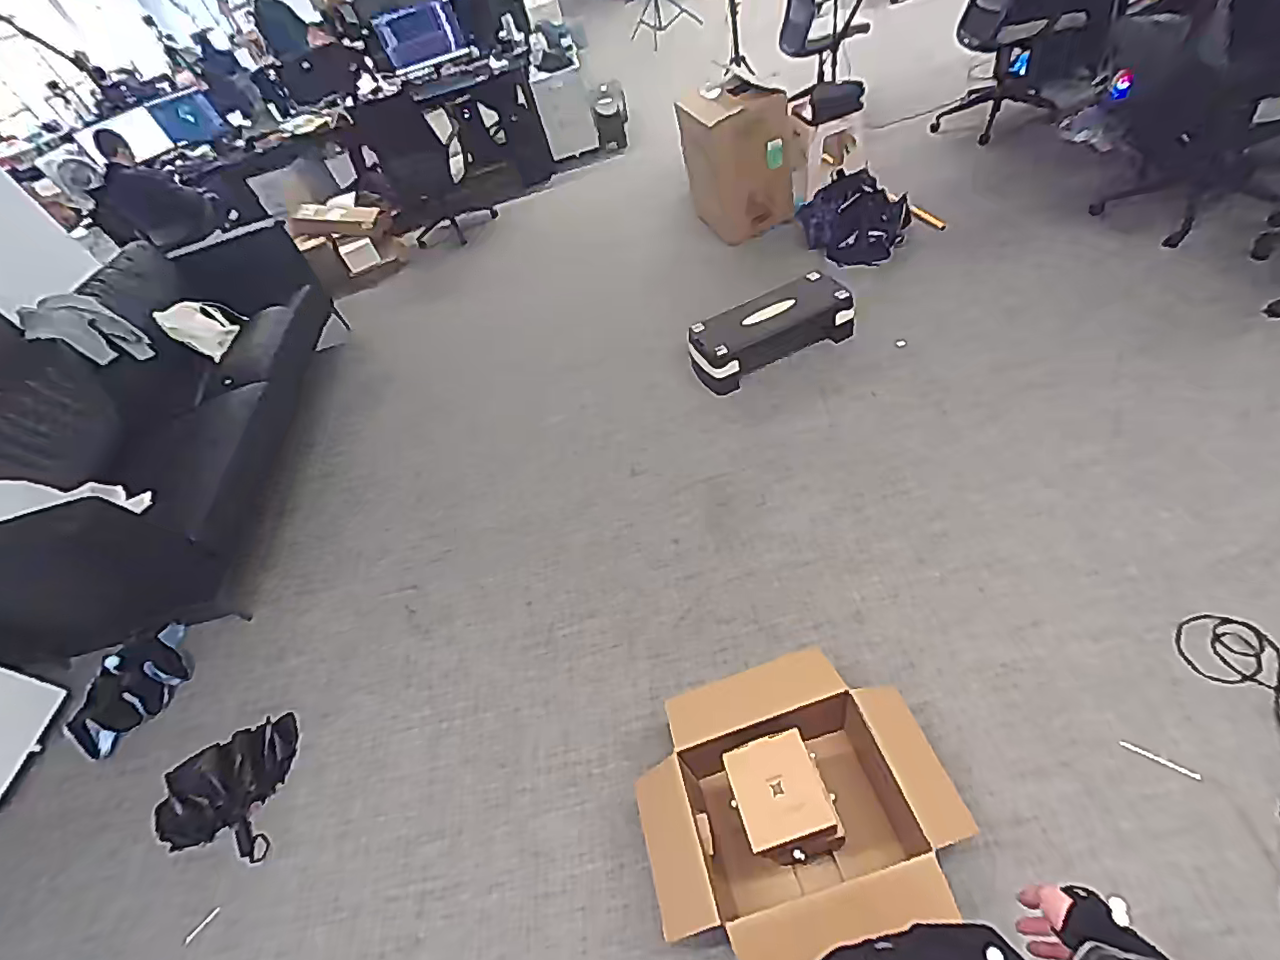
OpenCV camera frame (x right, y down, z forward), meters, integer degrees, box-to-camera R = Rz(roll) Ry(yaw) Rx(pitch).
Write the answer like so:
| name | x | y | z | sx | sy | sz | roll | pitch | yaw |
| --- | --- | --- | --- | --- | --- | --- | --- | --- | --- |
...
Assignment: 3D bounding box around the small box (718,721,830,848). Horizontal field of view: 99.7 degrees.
| name | x | y | z | sx | sy | sz | roll | pitch | yaw |
| --- | --- | --- | --- | --- | --- | --- | --- | --- | --- |
| small box | 0.273 | 0.628 | 1.110 | 0.168 | 0.176 | 0.179 | -21 | 50 | 3 |
